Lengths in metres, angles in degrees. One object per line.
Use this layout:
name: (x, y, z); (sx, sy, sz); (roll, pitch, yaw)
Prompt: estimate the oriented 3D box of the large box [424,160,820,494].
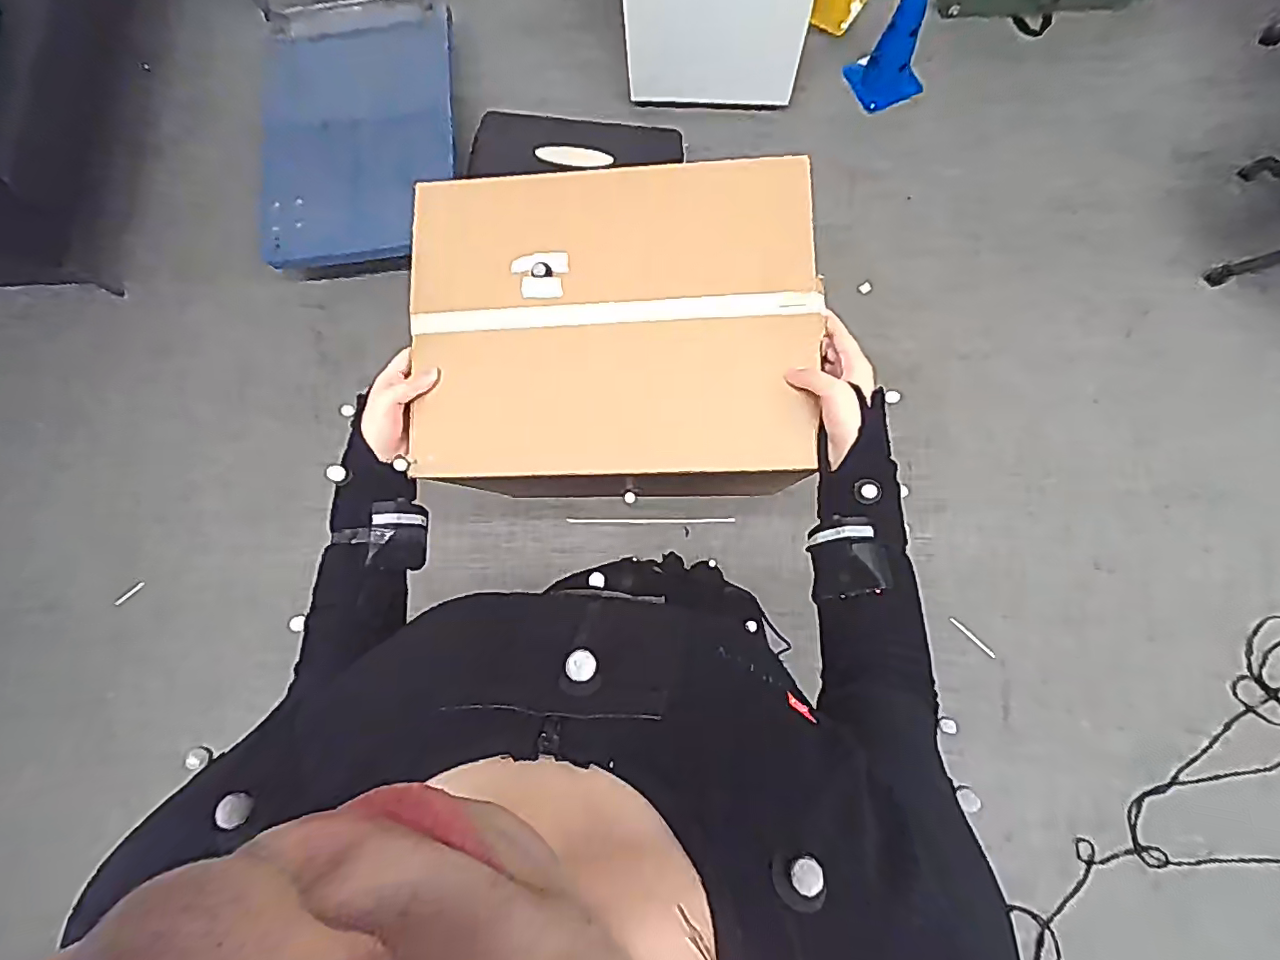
large box: (-0.011, -0.148, 0.696); (0.408, 0.320, 0.320); (-2, 84, 7)
